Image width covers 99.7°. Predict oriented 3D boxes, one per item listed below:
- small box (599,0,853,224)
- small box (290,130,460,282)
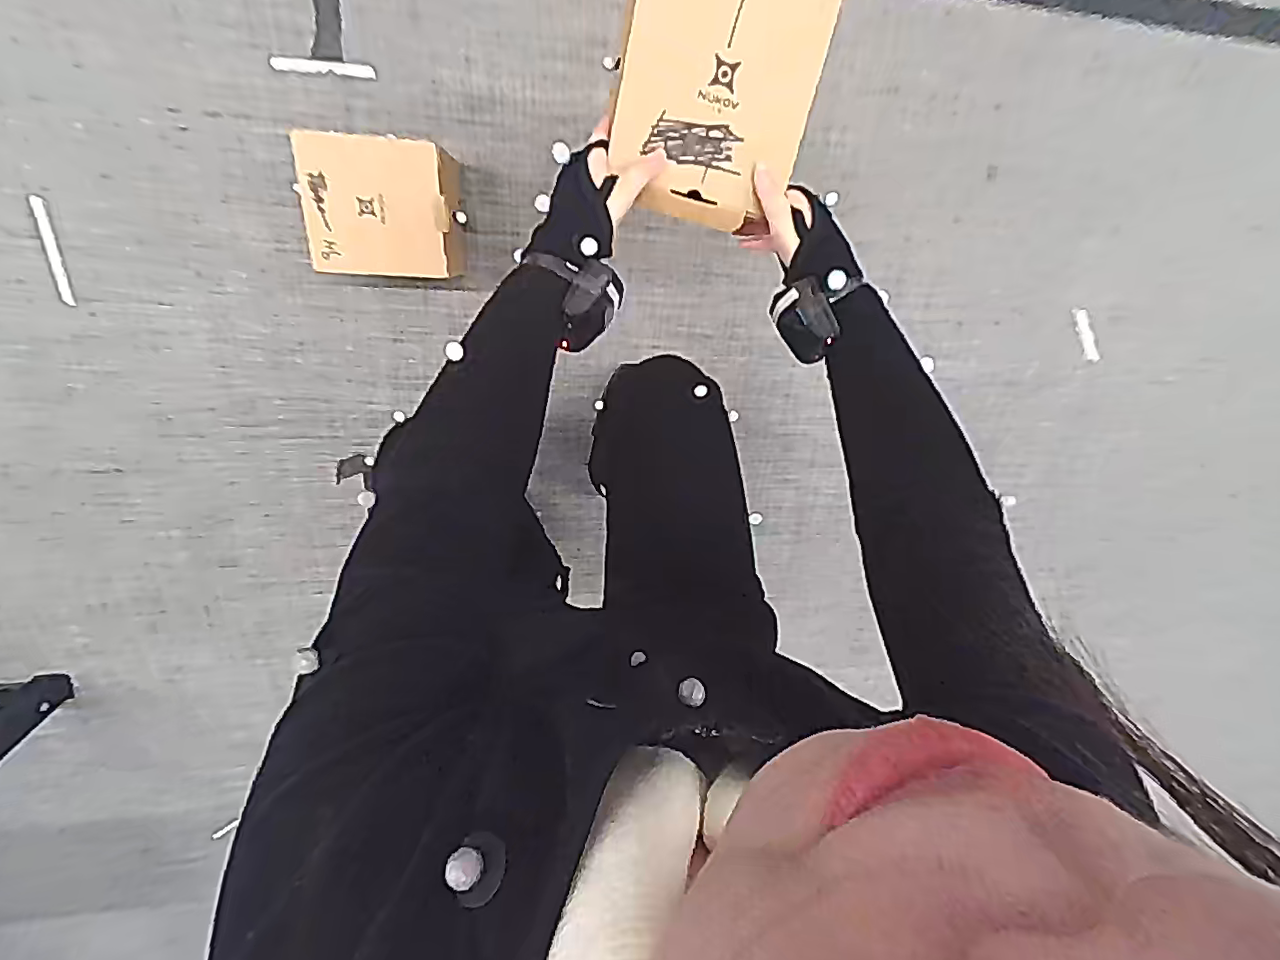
[{"bbox_3d":[0.058,-0.349,0.499,0.168,0.176,0.179,9,113,-12],"label":"small box"},{"bbox_3d":[-0.356,-0.380,0.768,0.179,0.176,0.168,0,113,-10],"label":"small box"}]
